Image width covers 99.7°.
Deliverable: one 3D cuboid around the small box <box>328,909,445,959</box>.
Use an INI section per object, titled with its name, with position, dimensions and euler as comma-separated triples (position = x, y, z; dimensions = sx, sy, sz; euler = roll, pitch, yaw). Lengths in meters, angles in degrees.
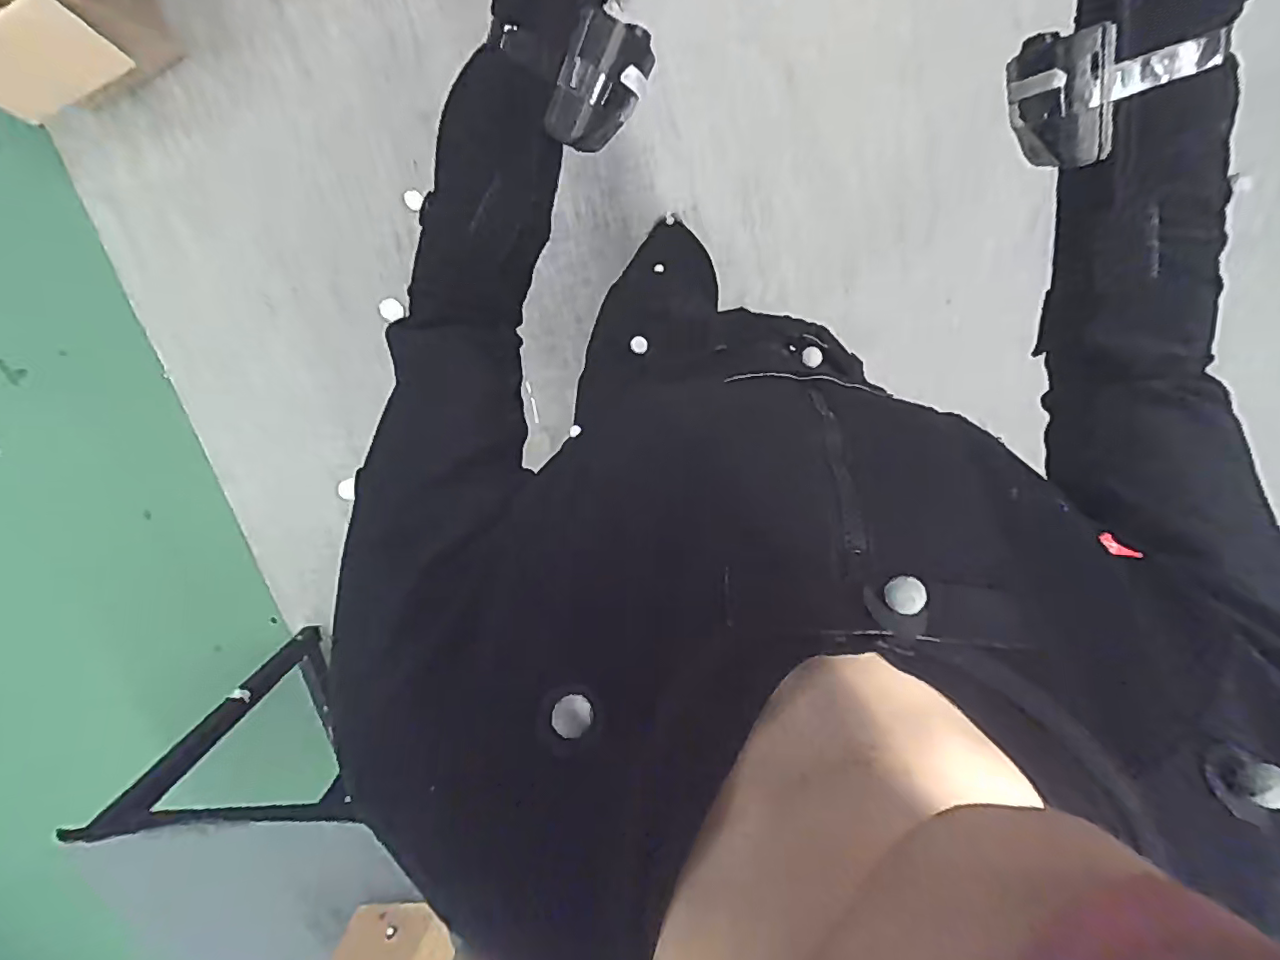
[small box]
position = -0.485, 0.955, 1.015
dimensions = 0.168, 0.176, 0.179
euler = -5, 108, 6
